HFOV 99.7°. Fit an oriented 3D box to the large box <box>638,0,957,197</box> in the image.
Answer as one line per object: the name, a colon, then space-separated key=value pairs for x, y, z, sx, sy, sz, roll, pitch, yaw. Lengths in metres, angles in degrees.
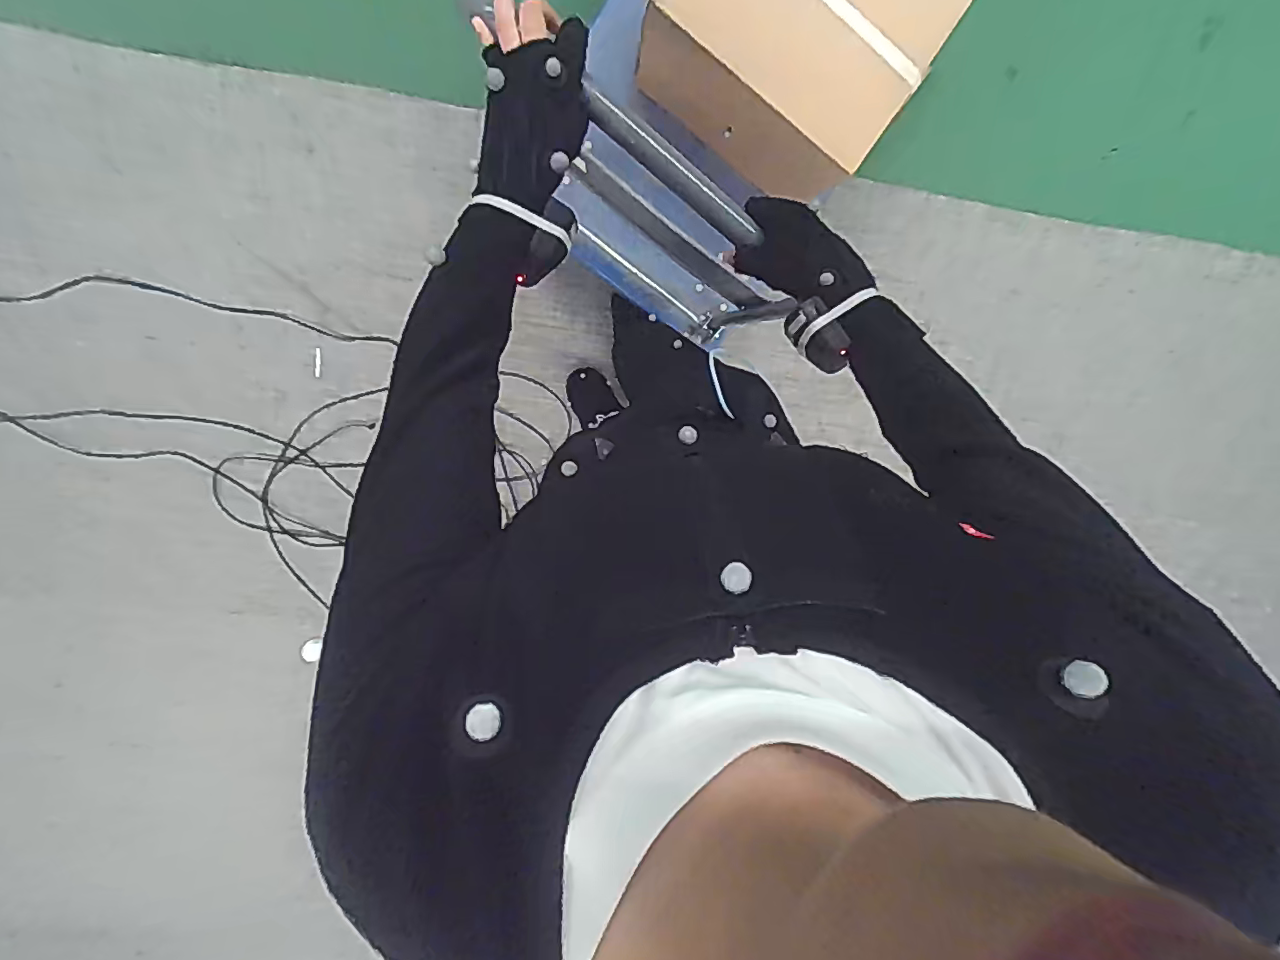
large box: x=0.248 y=-0.780 z=0.950 sx=0.408 sy=0.320 sz=0.320 roll=31 pitch=101 yaw=-12
